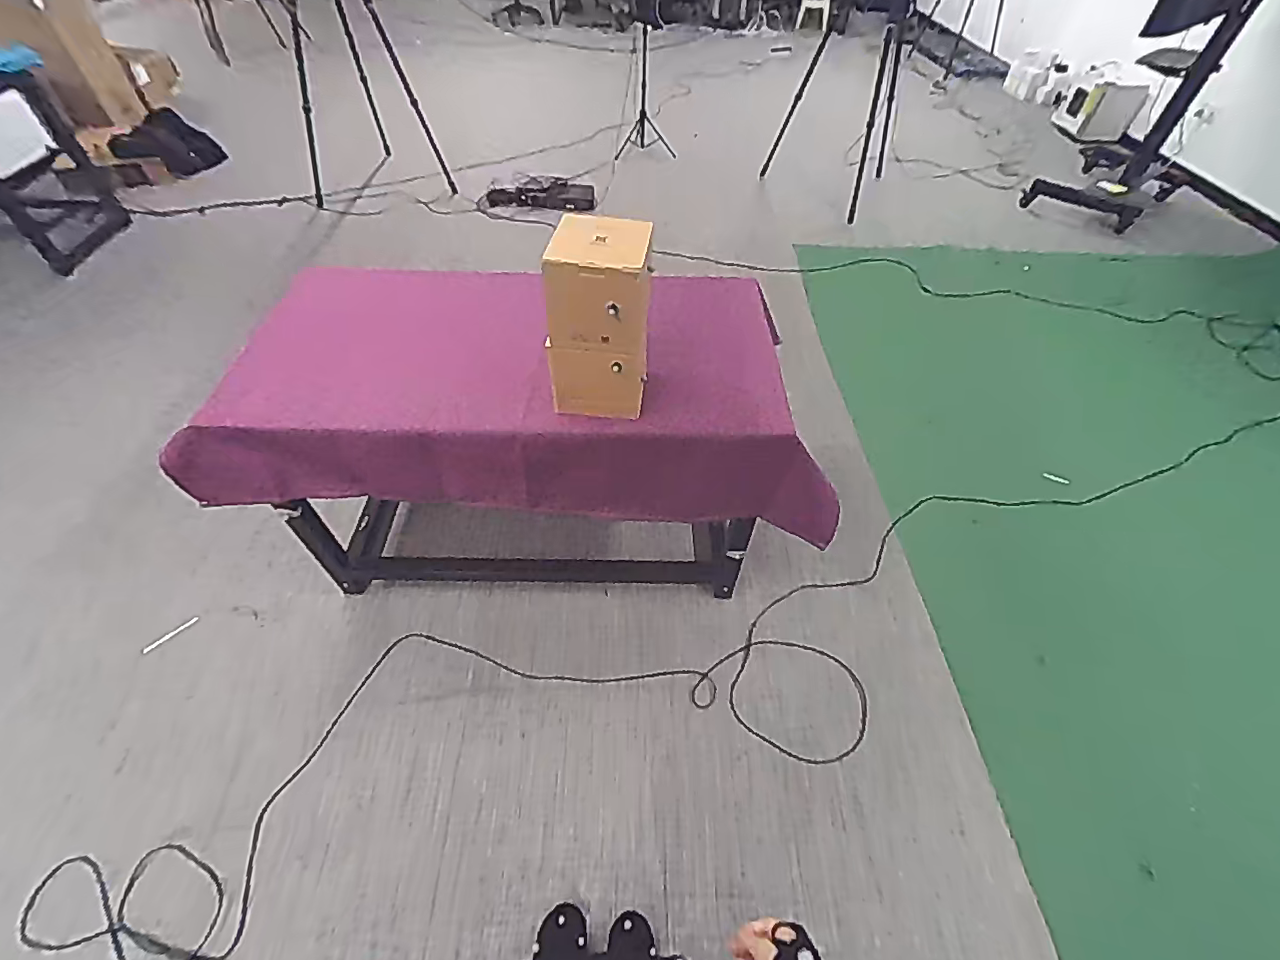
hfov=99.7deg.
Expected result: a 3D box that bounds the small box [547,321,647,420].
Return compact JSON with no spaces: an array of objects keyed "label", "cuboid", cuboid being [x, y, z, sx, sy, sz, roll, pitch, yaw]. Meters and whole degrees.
[{"label":"small box","cuboid":[-0.081,-0.239,1.110,0.179,0.176,0.168,6,48,3]}]

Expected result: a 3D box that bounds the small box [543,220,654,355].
[{"label":"small box","cuboid":[-0.069,-0.350,0.991,0.168,0.176,0.179,8,48,3]}]
